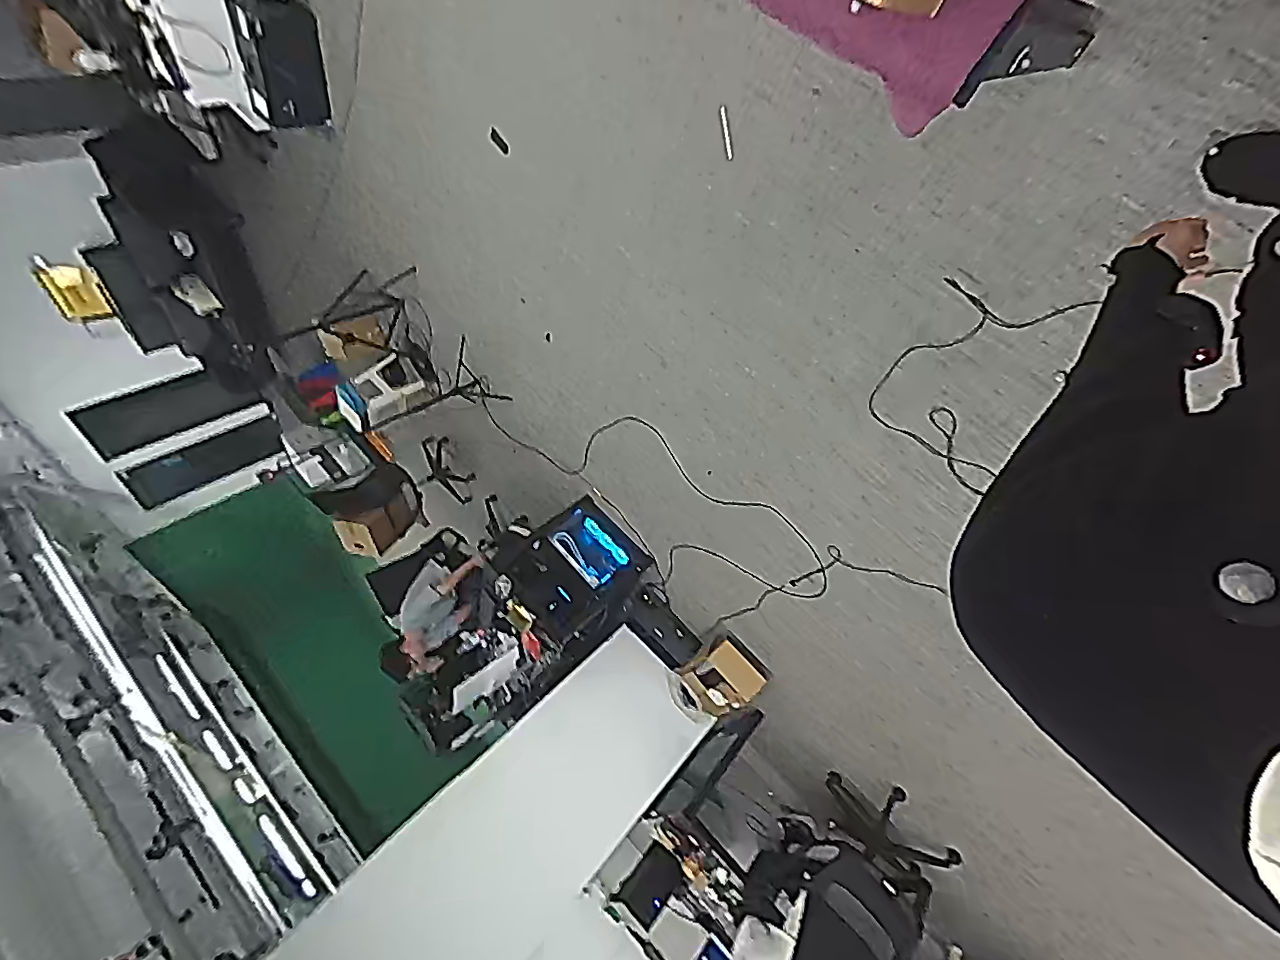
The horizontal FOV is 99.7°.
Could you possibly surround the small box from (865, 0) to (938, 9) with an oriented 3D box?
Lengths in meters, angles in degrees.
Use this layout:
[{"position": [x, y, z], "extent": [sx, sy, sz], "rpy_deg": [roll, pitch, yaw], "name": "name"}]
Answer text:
[{"position": [0.256, -0.626, 0.566], "extent": [0.179, 0.176, 0.168], "rpy_deg": [41, 141, 16], "name": "small box"}]
